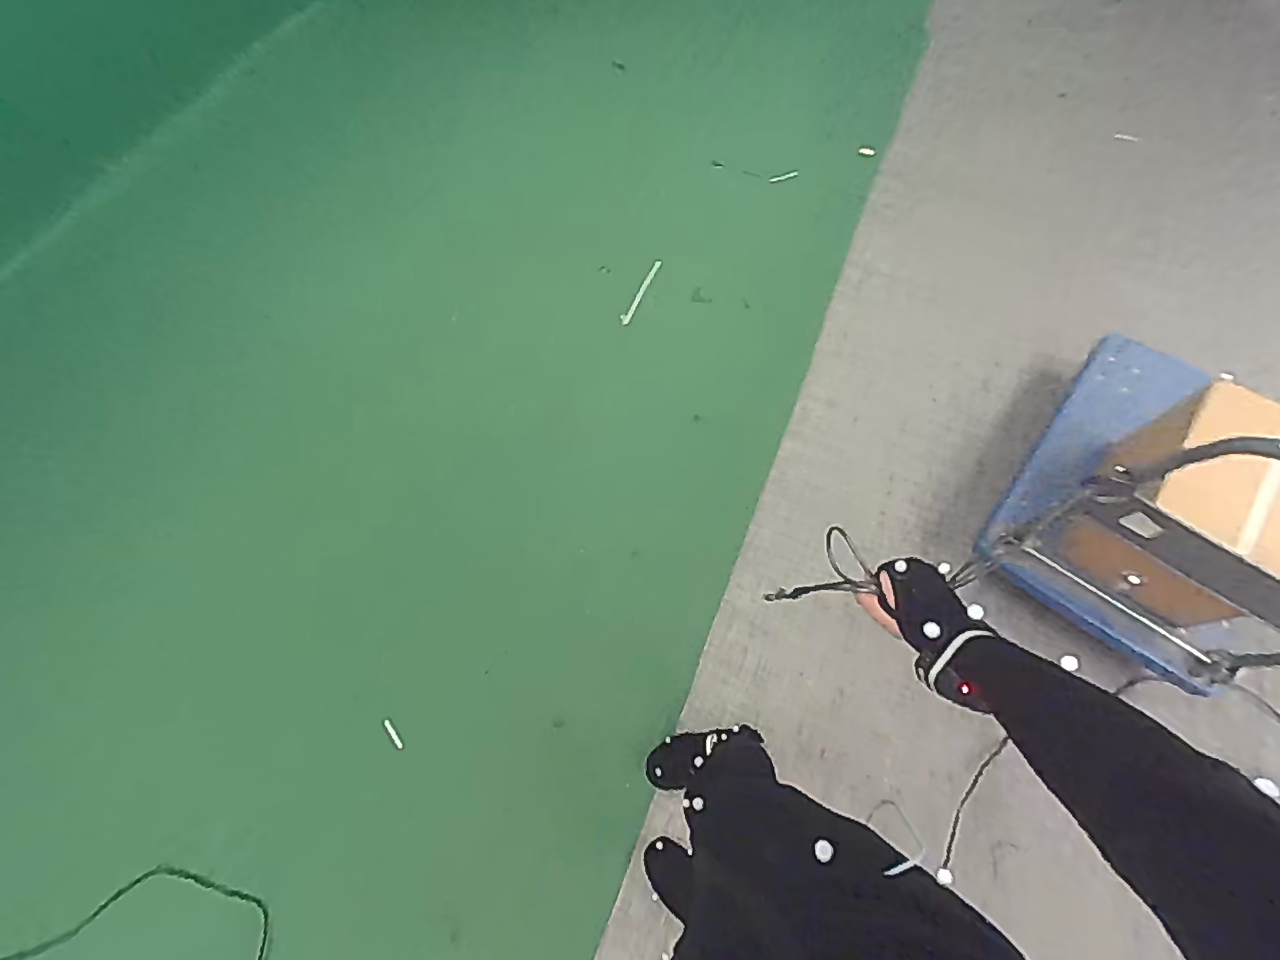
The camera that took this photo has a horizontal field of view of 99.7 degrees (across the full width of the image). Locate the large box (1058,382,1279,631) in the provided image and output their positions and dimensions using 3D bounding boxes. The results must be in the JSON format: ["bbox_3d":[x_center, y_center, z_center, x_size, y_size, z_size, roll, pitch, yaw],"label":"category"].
[{"bbox_3d":[1.265,0.069,1.228,0.320,0.320,0.408,36,72,17],"label":"large box"}]
